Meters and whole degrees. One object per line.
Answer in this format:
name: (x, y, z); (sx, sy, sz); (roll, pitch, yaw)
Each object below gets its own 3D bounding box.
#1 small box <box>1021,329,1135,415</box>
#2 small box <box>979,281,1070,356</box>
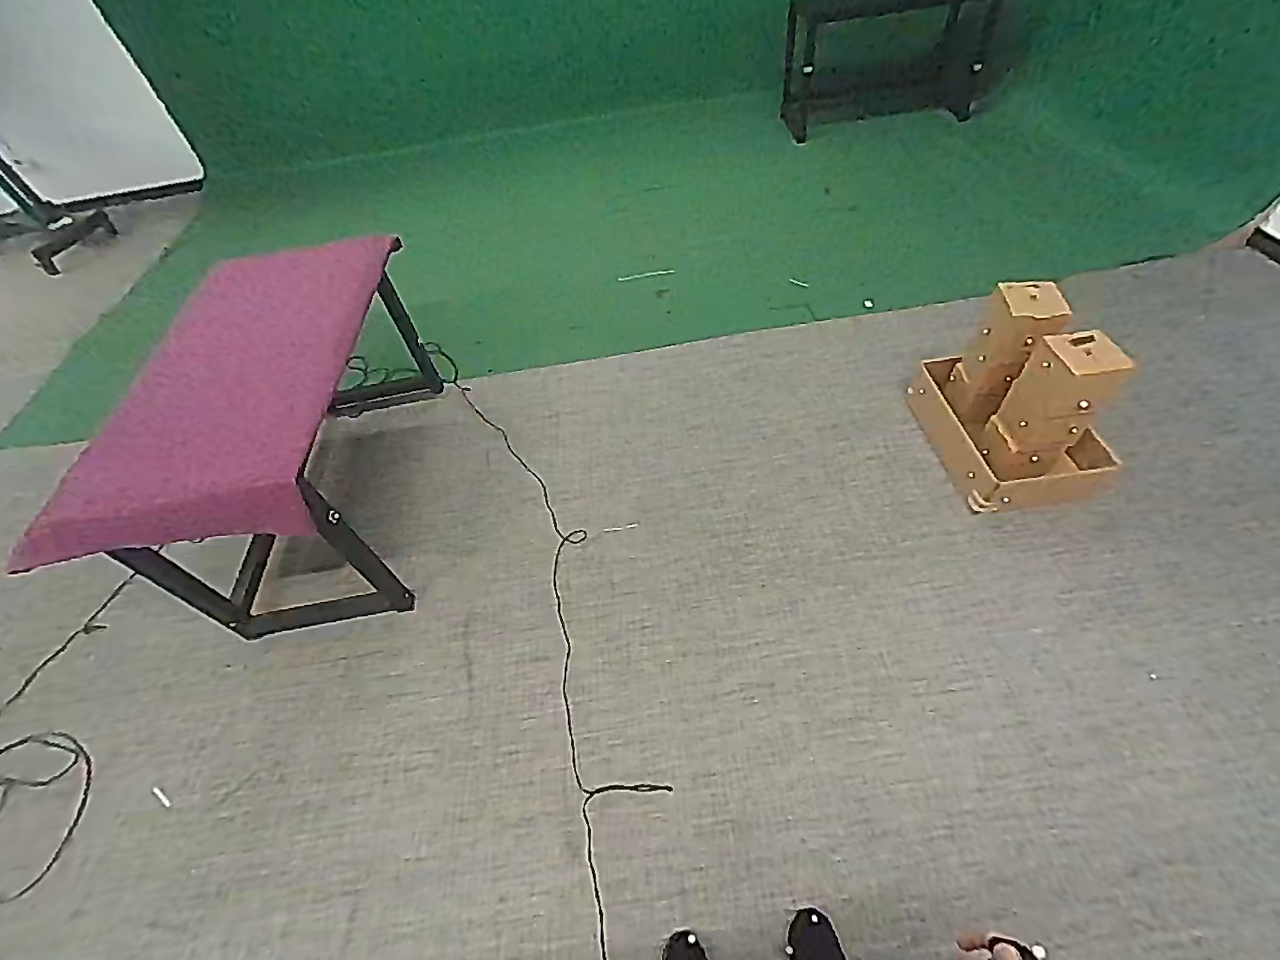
small box: (1.269, -0.314, 1.585); (0.168, 0.176, 0.179); (-7, 51, 3)
small box: (1.233, -0.518, 1.748); (0.168, 0.176, 0.179); (2, 54, 9)
